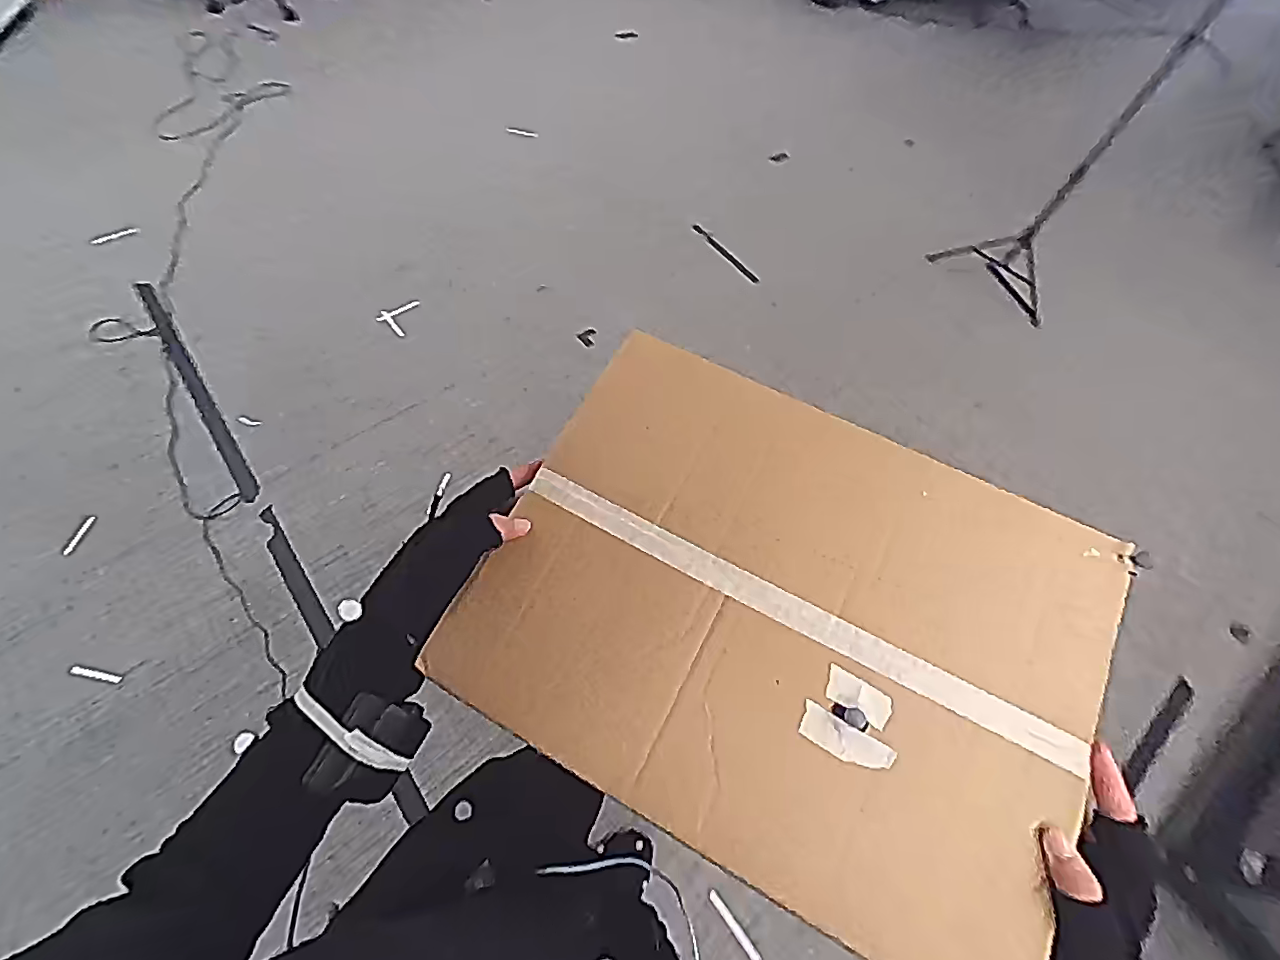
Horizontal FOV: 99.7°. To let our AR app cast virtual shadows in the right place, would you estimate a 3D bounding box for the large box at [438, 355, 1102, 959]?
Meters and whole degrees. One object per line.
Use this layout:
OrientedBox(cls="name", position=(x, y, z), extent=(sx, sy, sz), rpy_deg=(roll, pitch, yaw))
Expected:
OrientedBox(cls="large box", position=(0.101, 0.150, 0.527), extent=(0.408, 0.320, 0.320), rpy_deg=(26, 72, 11))
